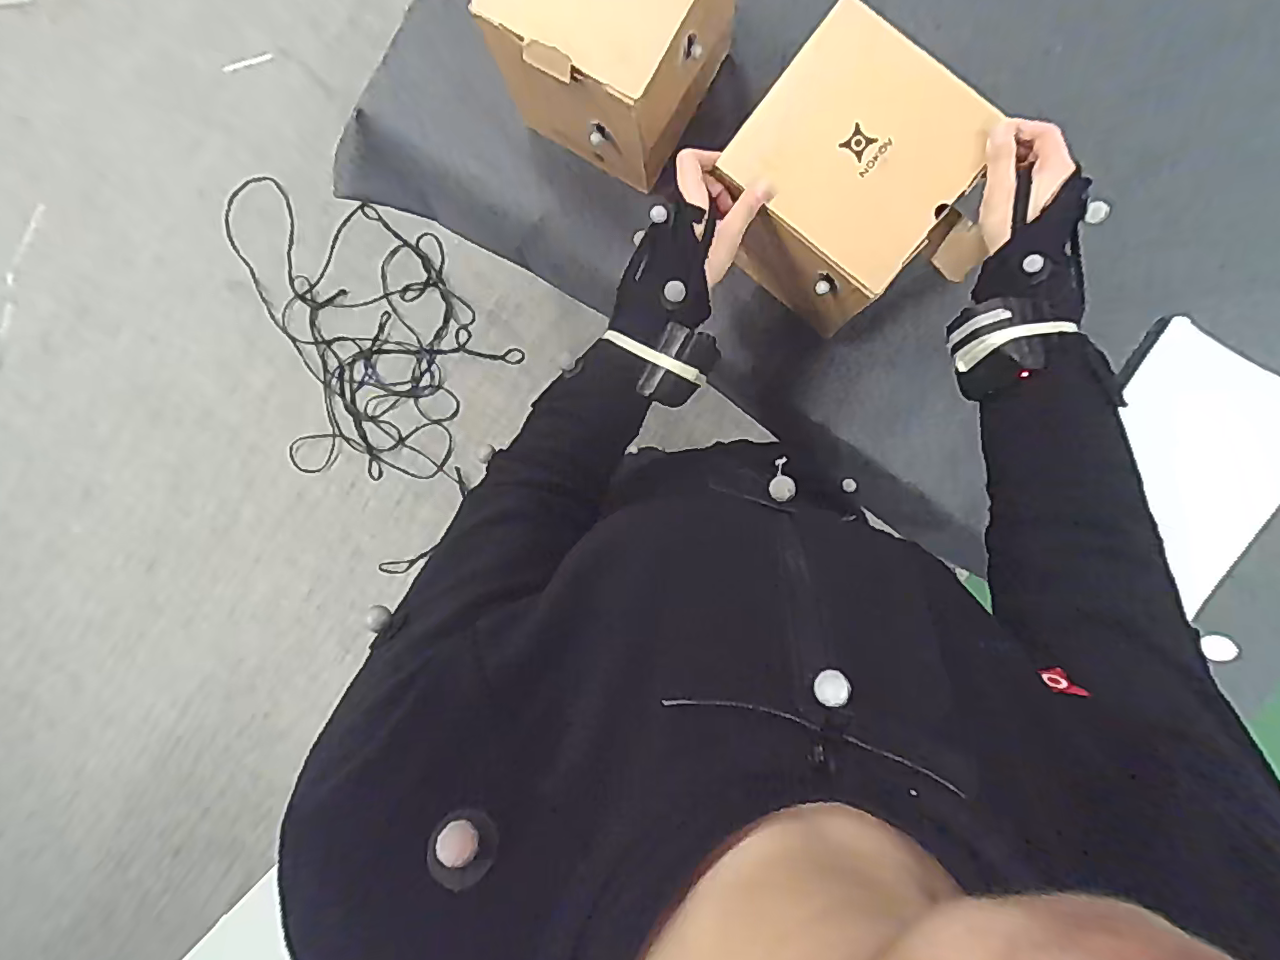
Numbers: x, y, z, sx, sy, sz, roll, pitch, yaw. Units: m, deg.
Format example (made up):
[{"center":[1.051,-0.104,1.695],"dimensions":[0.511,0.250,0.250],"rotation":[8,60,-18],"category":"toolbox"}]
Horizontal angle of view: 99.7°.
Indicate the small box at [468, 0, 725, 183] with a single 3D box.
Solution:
[{"center":[-0.025,-0.428,0.514],"dimensions":[0.168,0.176,0.179],"rotation":[31,95,1],"category":"small box"}]
